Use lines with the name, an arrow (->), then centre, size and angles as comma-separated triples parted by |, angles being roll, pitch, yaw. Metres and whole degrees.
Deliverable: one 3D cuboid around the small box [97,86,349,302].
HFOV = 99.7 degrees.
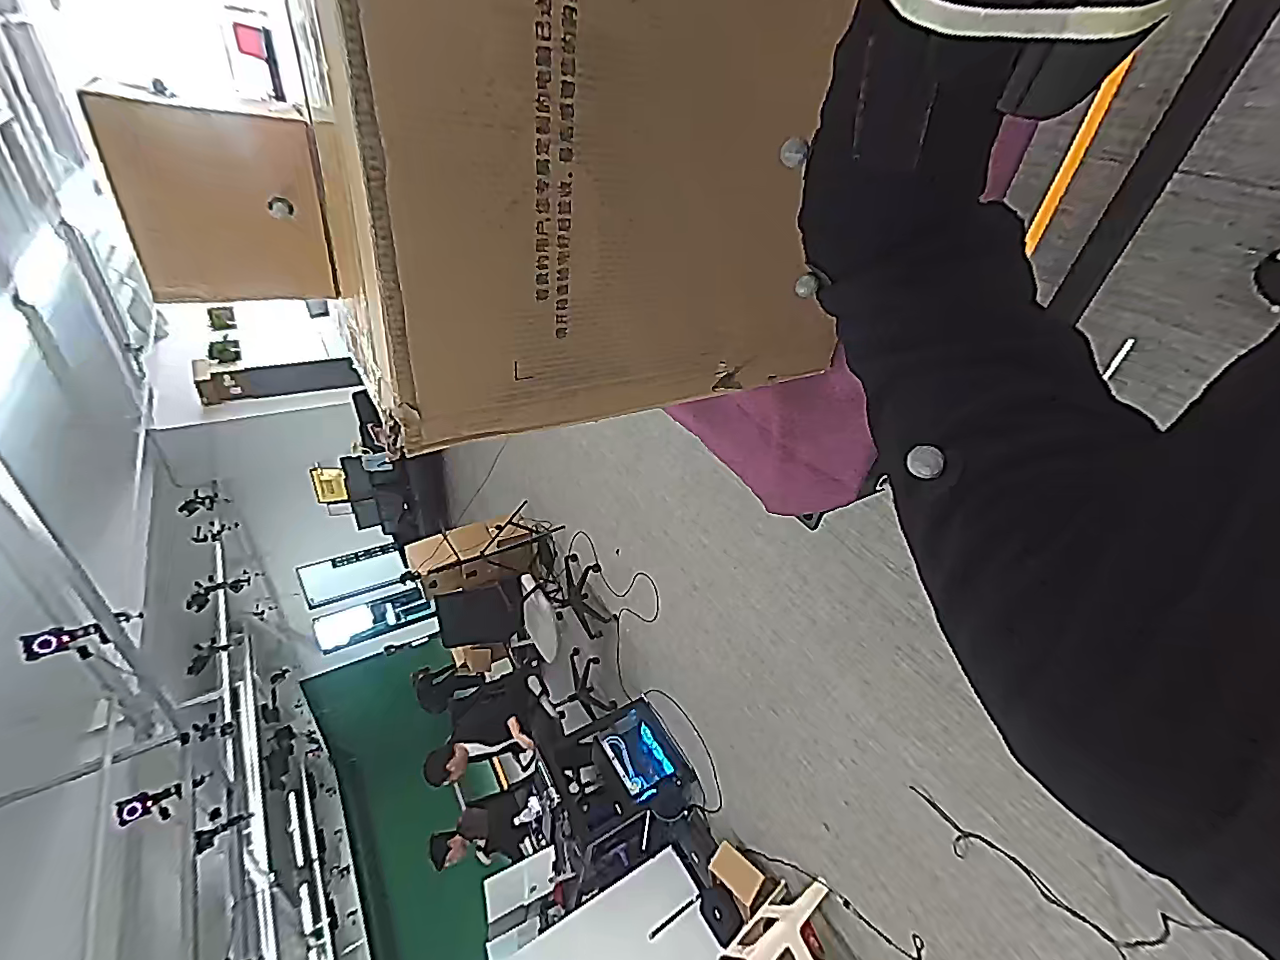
small box -> -0.434, -0.304, 0.587 | 0.168, 0.176, 0.179 | 46, 139, 40
